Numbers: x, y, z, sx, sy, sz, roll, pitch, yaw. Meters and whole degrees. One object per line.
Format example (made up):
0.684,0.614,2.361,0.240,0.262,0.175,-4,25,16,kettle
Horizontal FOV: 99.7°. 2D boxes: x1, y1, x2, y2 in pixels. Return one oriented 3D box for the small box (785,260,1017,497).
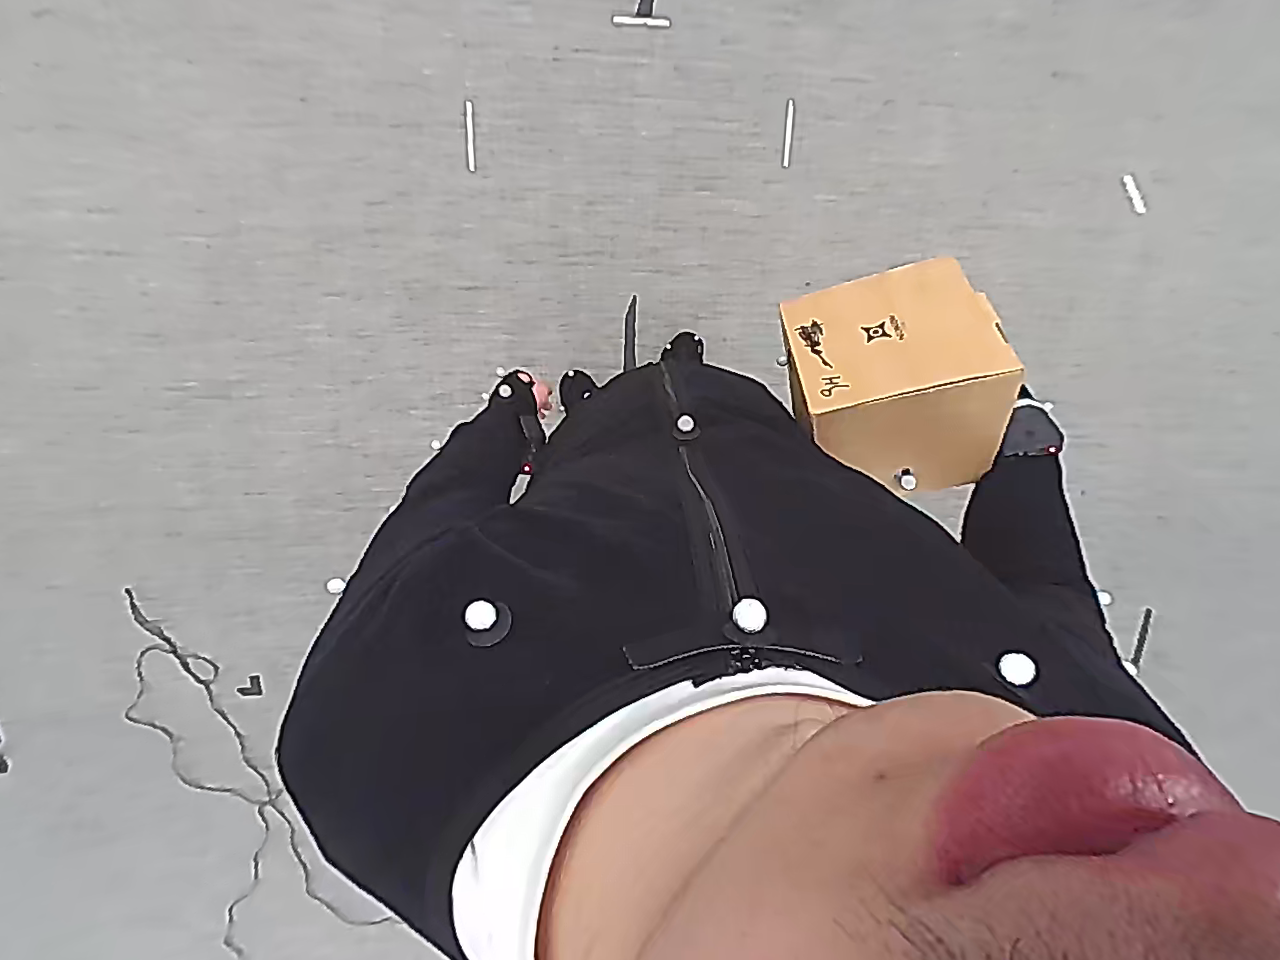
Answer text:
0.264,-0.102,0.592,0.179,0.168,0.176,-11,142,13,small box
